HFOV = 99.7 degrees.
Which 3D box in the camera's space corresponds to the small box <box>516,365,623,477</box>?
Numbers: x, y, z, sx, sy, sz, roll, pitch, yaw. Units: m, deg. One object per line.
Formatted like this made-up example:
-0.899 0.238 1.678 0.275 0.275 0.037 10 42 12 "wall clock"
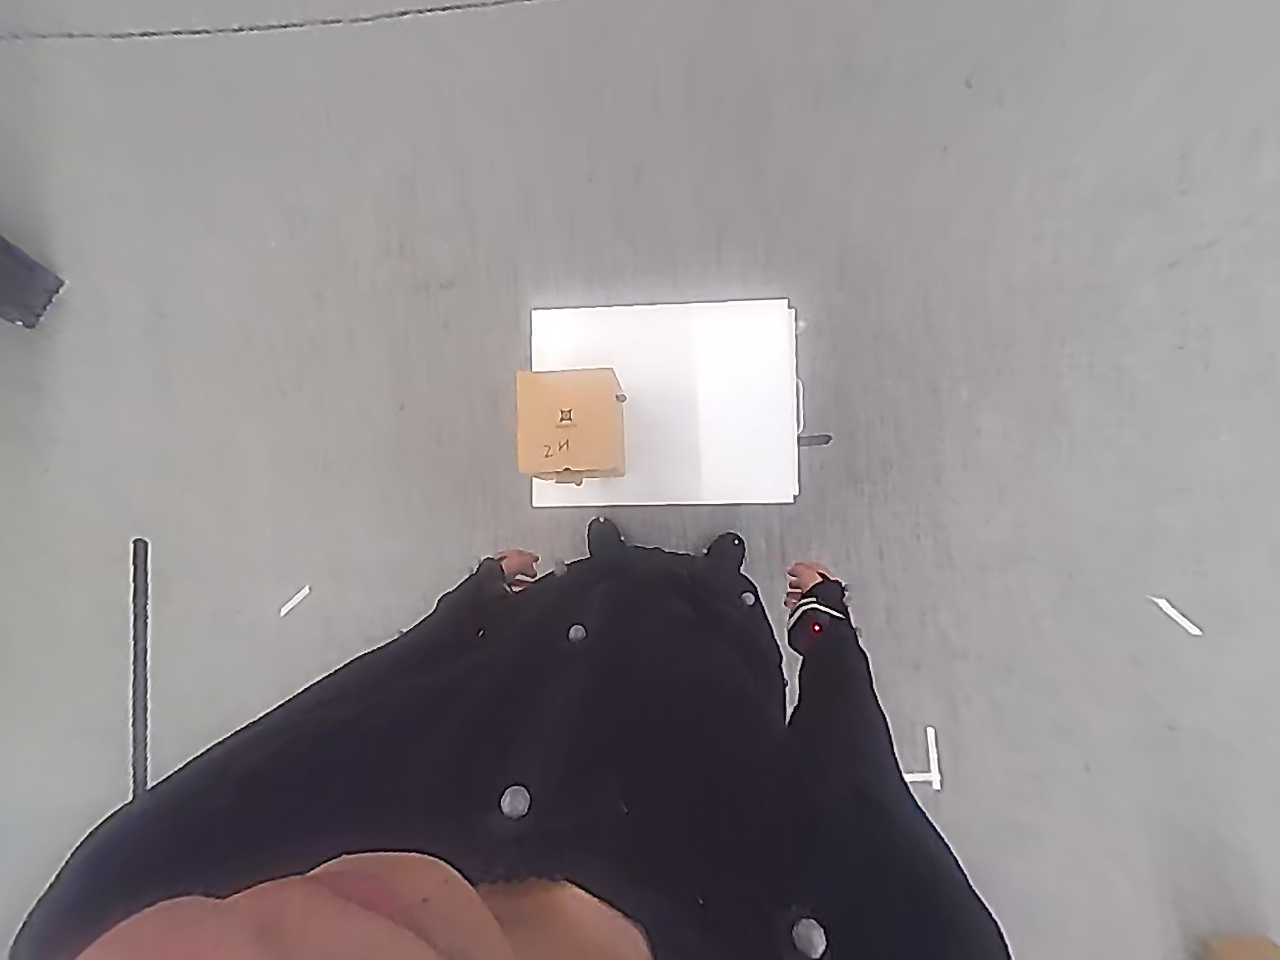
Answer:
-0.121 -0.099 0.976 0.168 0.176 0.179 -2 88 4 "small box"
